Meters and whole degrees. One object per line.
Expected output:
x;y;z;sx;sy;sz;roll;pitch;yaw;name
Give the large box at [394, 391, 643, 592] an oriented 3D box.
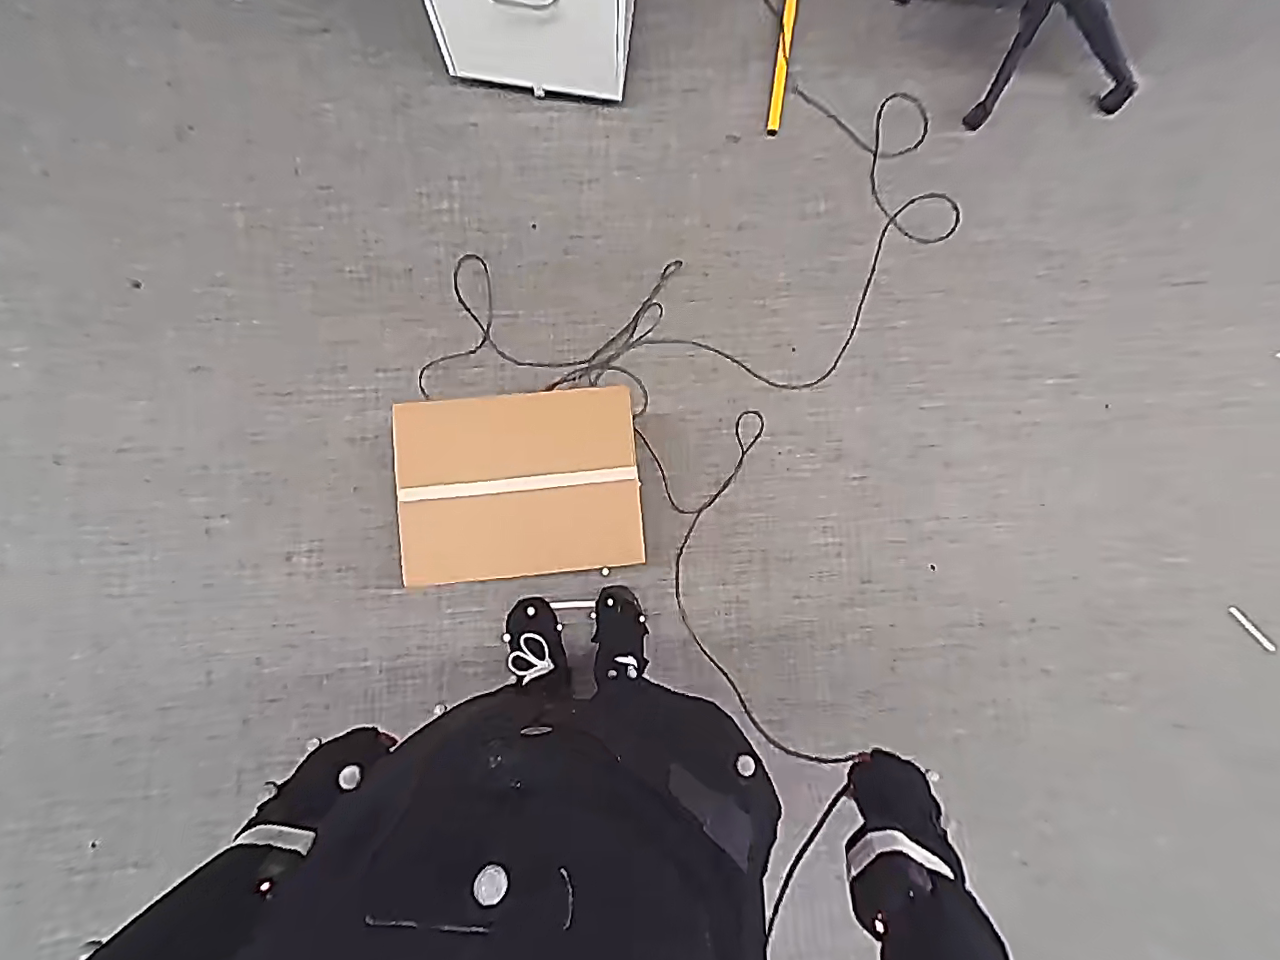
-0.215;0.025;1.073;0.408;0.320;0.320;-6;85;-4;large box
